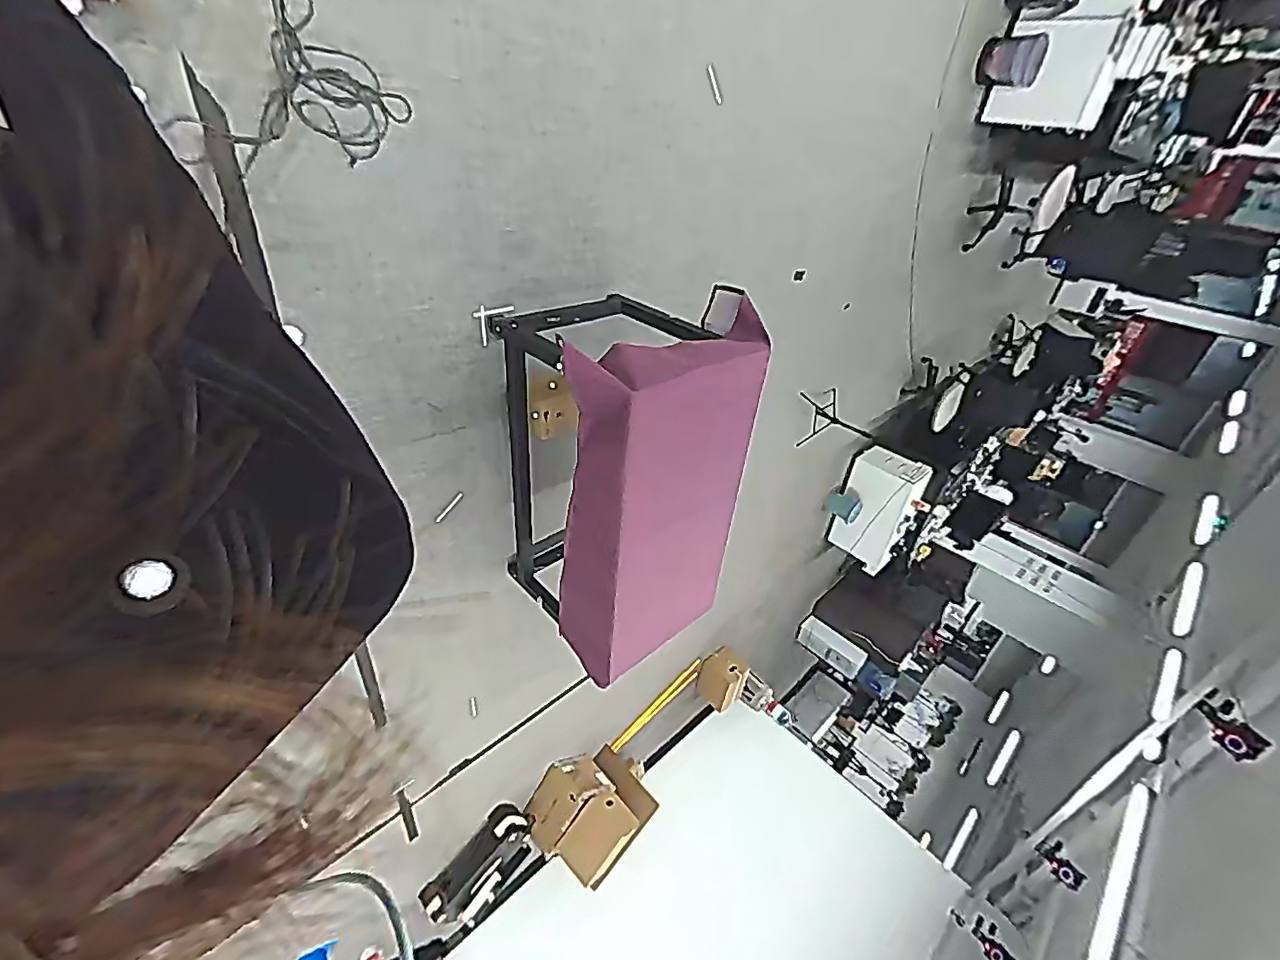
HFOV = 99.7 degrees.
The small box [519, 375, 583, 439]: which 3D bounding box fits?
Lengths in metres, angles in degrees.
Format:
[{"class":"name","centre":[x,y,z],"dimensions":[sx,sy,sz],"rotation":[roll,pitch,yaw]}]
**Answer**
[{"class":"small box","centre":[-0.334,-0.282,2.041],"dimensions":[0.179,0.176,0.168],"rotation":[-27,135,-36]}]
